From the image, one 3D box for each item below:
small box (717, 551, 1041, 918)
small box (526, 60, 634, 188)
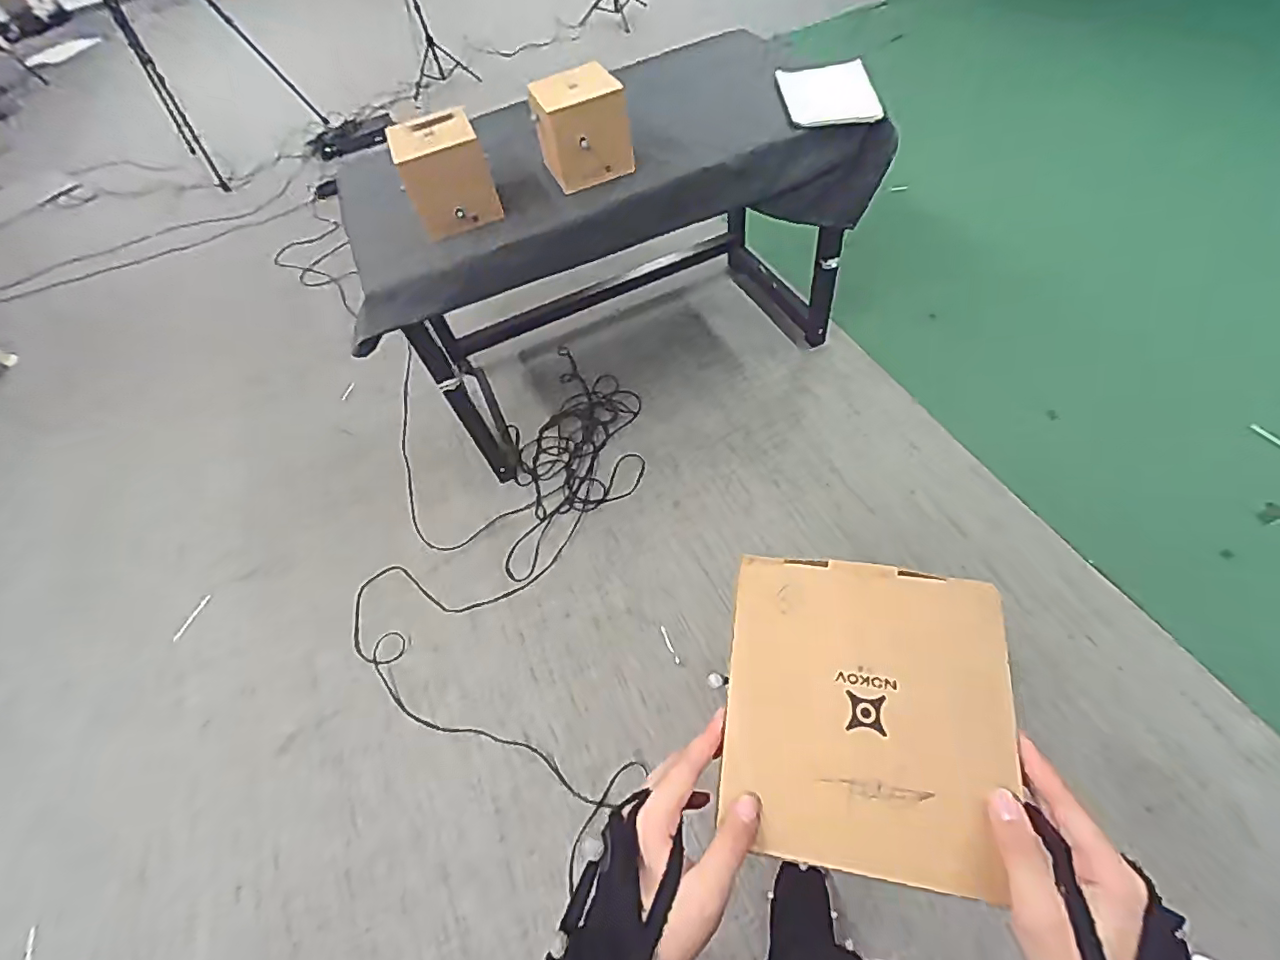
[{"bbox_3d":[0.146,0.167,0.391,0.168,0.176,0.179,5,66,11],"label":"small box"},{"bbox_3d":[-0.123,-0.759,1.166,0.168,0.176,0.179,-23,55,-5],"label":"small box"}]
